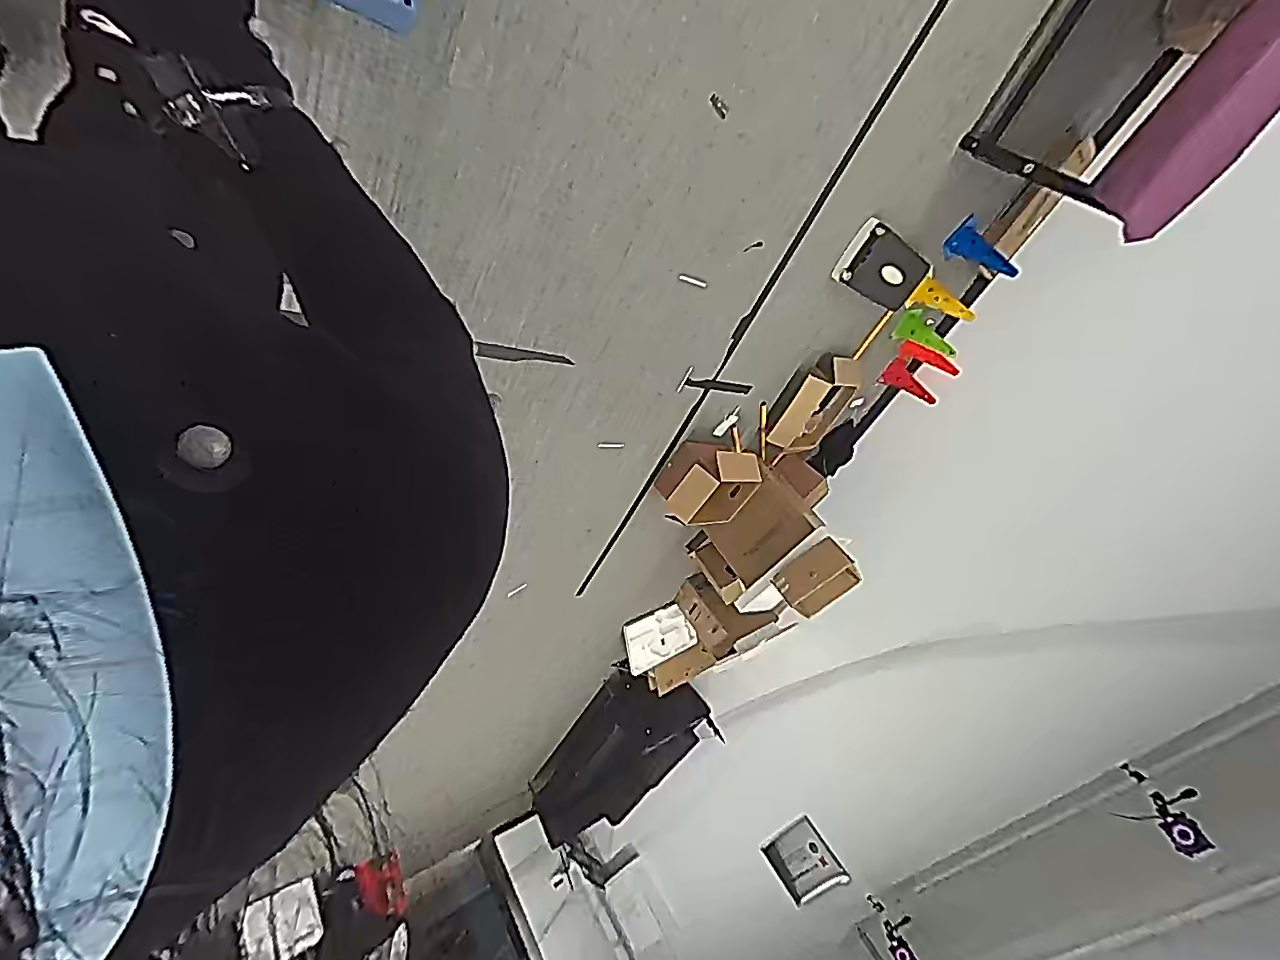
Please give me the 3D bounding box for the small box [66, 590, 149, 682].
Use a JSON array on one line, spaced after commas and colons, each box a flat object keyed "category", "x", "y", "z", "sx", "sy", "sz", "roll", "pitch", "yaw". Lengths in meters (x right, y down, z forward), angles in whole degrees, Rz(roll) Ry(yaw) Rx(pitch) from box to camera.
[{"category": "small box", "x": -1.542, "y": 0.447, "z": 1.571, "sx": 0.168, "sy": 0.176, "sz": 0.179, "roll": -5, "pitch": 136, "yaw": -44}]
